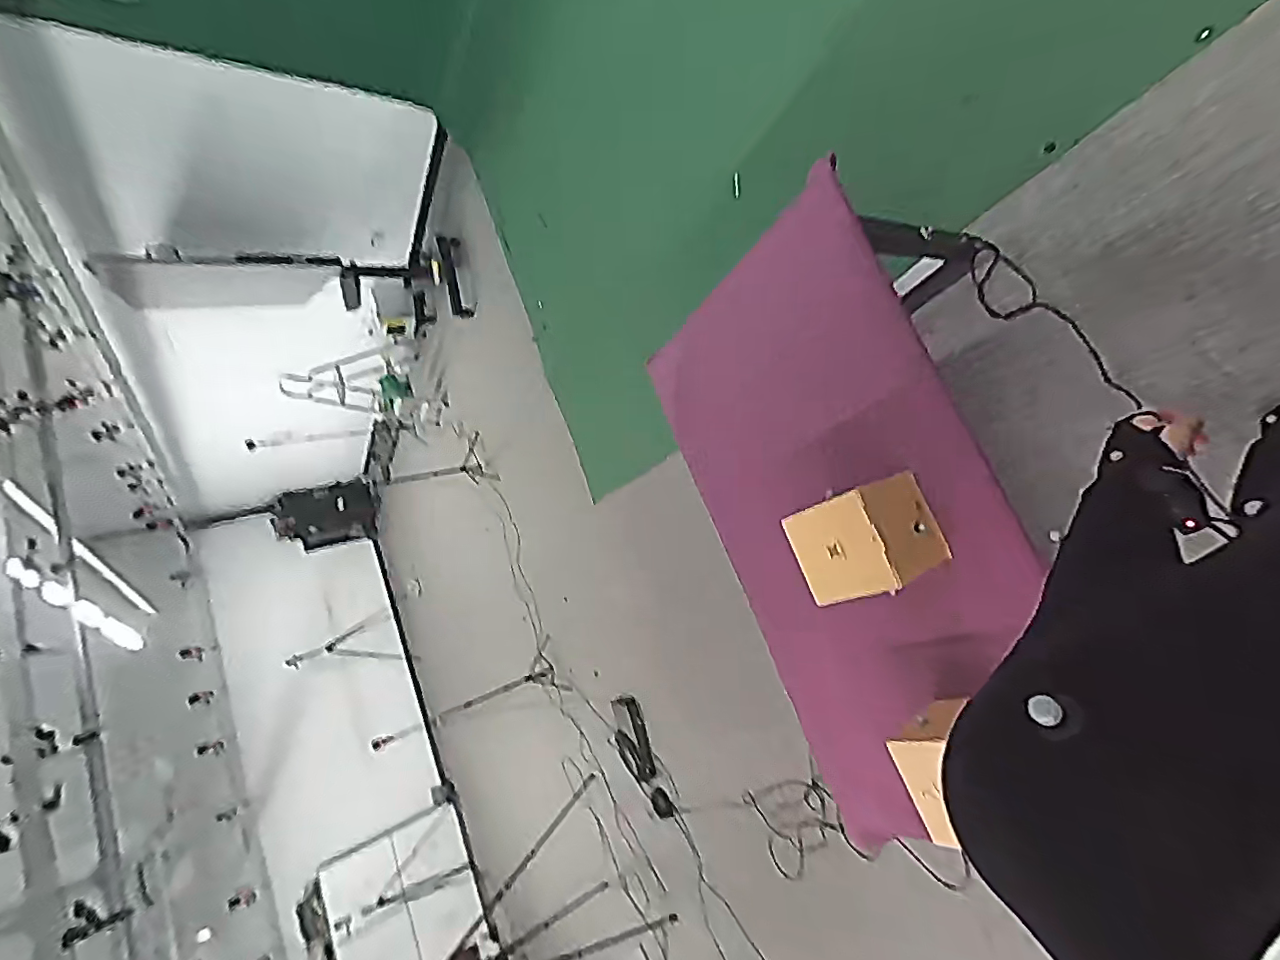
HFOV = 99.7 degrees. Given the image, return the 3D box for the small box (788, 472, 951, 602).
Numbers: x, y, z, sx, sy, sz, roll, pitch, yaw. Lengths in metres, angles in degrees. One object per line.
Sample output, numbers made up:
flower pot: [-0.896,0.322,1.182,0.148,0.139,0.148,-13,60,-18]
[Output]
small box: [0.406,0.100,0.962,0.179,0.176,0.168,-37,71,52]
